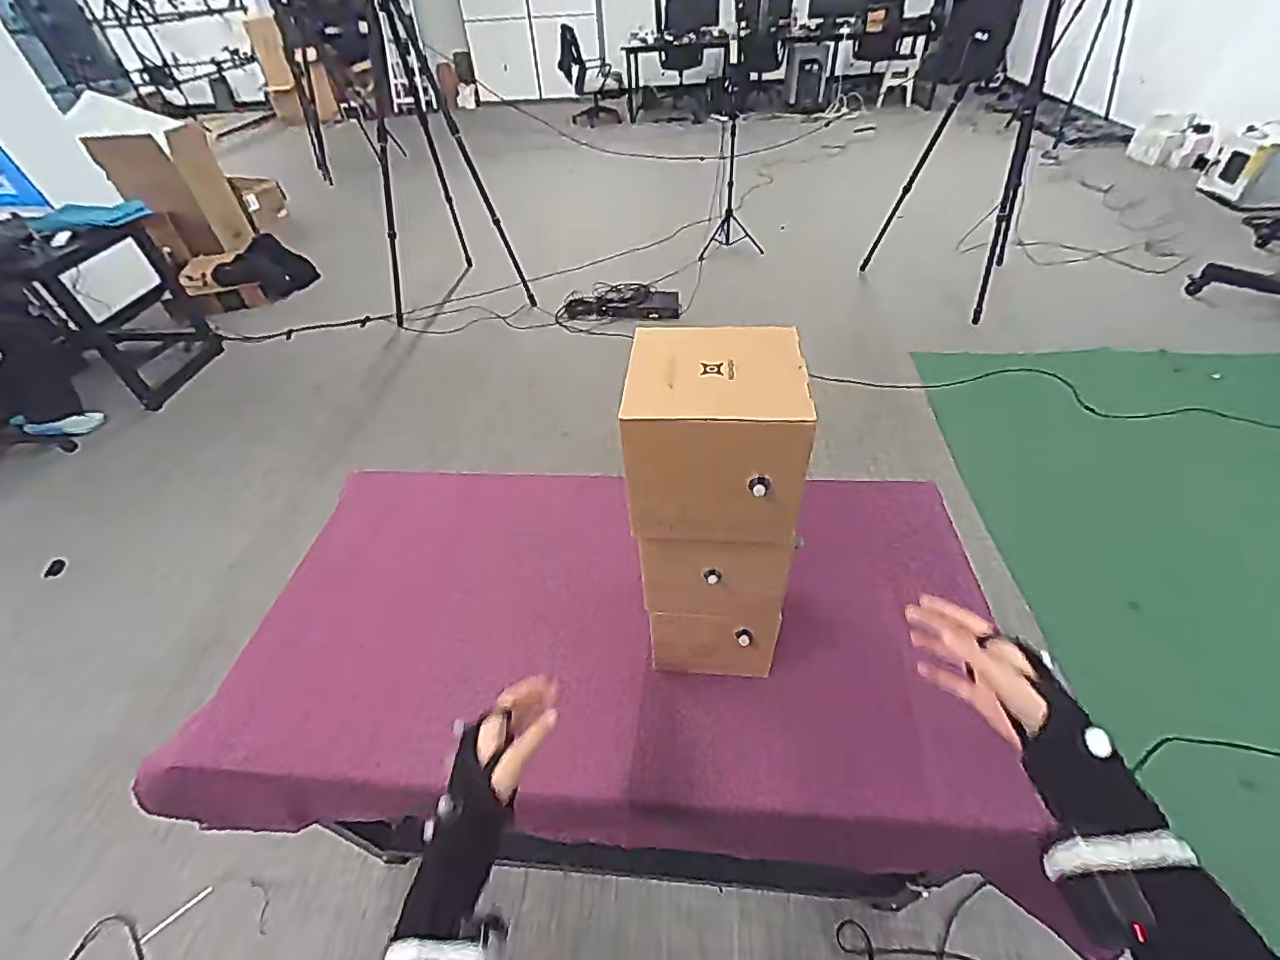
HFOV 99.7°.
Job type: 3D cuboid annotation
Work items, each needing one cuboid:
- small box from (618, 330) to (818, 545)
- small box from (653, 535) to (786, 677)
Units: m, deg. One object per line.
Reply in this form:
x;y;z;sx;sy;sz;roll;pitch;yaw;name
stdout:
0.080;-0.044;0.582;0.179;0.176;0.168;1;44;7;small box
0.115;0.182;0.818;0.179;0.176;0.168;2;44;7;small box
